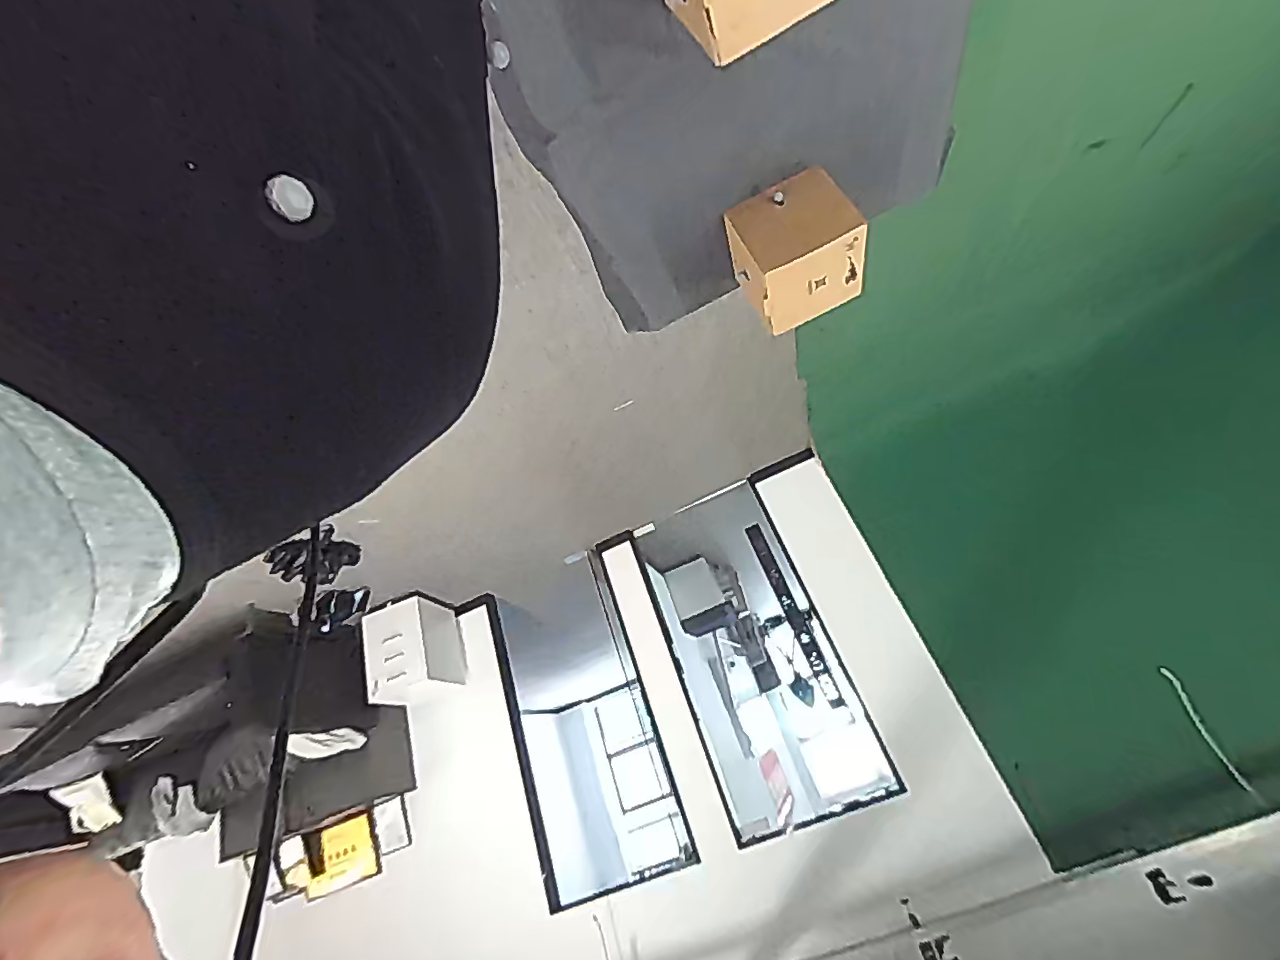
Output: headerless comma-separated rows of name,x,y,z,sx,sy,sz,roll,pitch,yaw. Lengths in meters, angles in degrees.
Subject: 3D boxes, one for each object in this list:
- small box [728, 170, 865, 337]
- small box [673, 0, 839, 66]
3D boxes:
small box,0.265,-0.393,0.946,0.179,0.176,0.168,-24,153,7
small box,0.109,-0.562,0.517,0.179,0.176,0.168,-27,155,8
